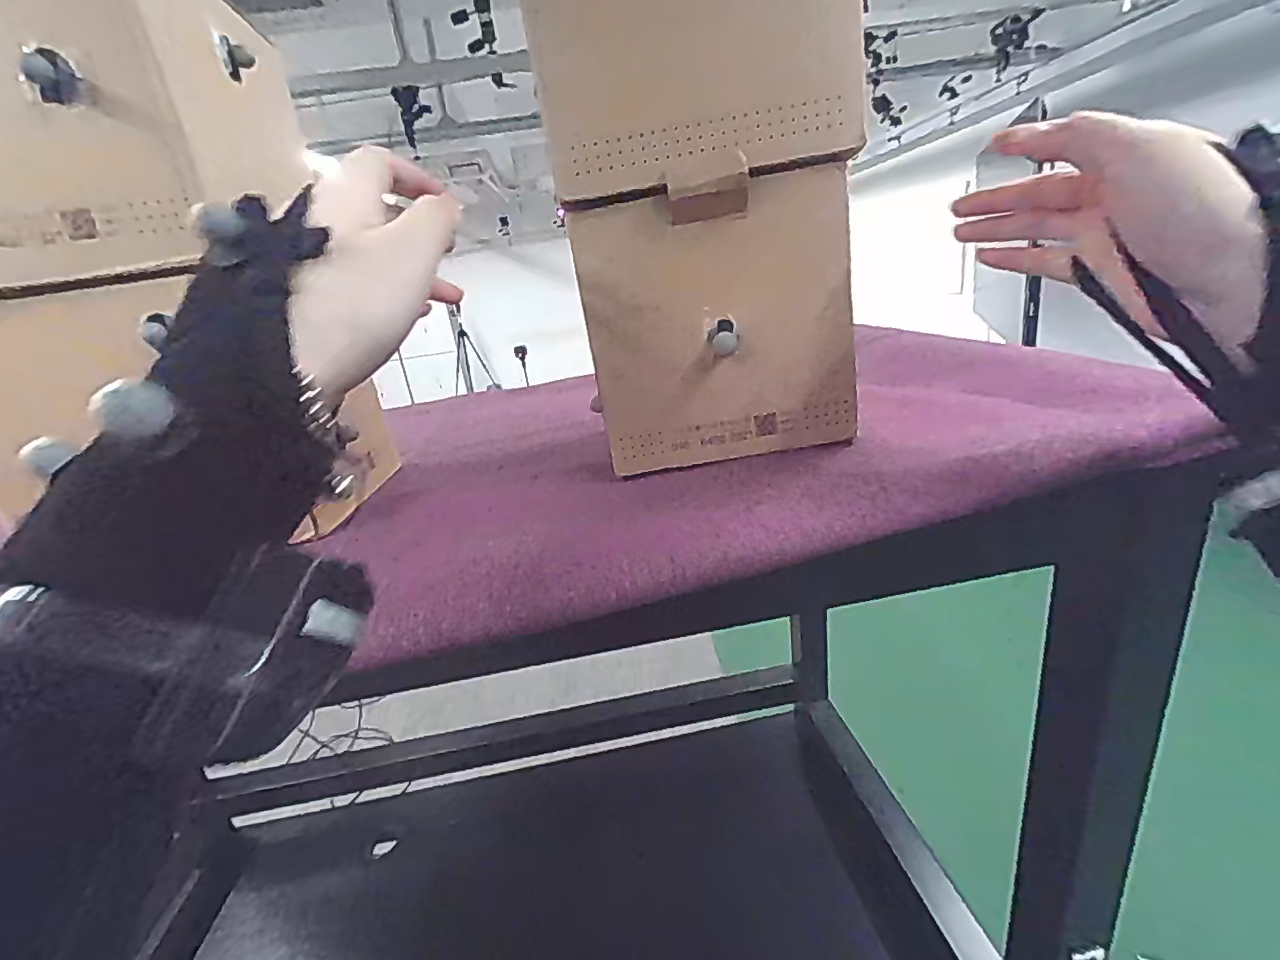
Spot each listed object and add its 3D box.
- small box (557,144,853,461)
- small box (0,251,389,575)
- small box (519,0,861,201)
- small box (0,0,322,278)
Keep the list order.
[{"bbox_3d":[0.047,-0.118,0.403,0.168,0.176,0.179,-9,18,3],"label":"small box"},{"bbox_3d":[-0.307,-0.050,0.377,0.179,0.176,0.168,-10,19,-4],"label":"small box"},{"bbox_3d":[0.023,-0.271,0.343,0.179,0.176,0.168,-9,18,2],"label":"small box"},{"bbox_3d":[-0.324,-0.202,0.325,0.168,0.176,0.179,-9,17,-7],"label":"small box"}]
